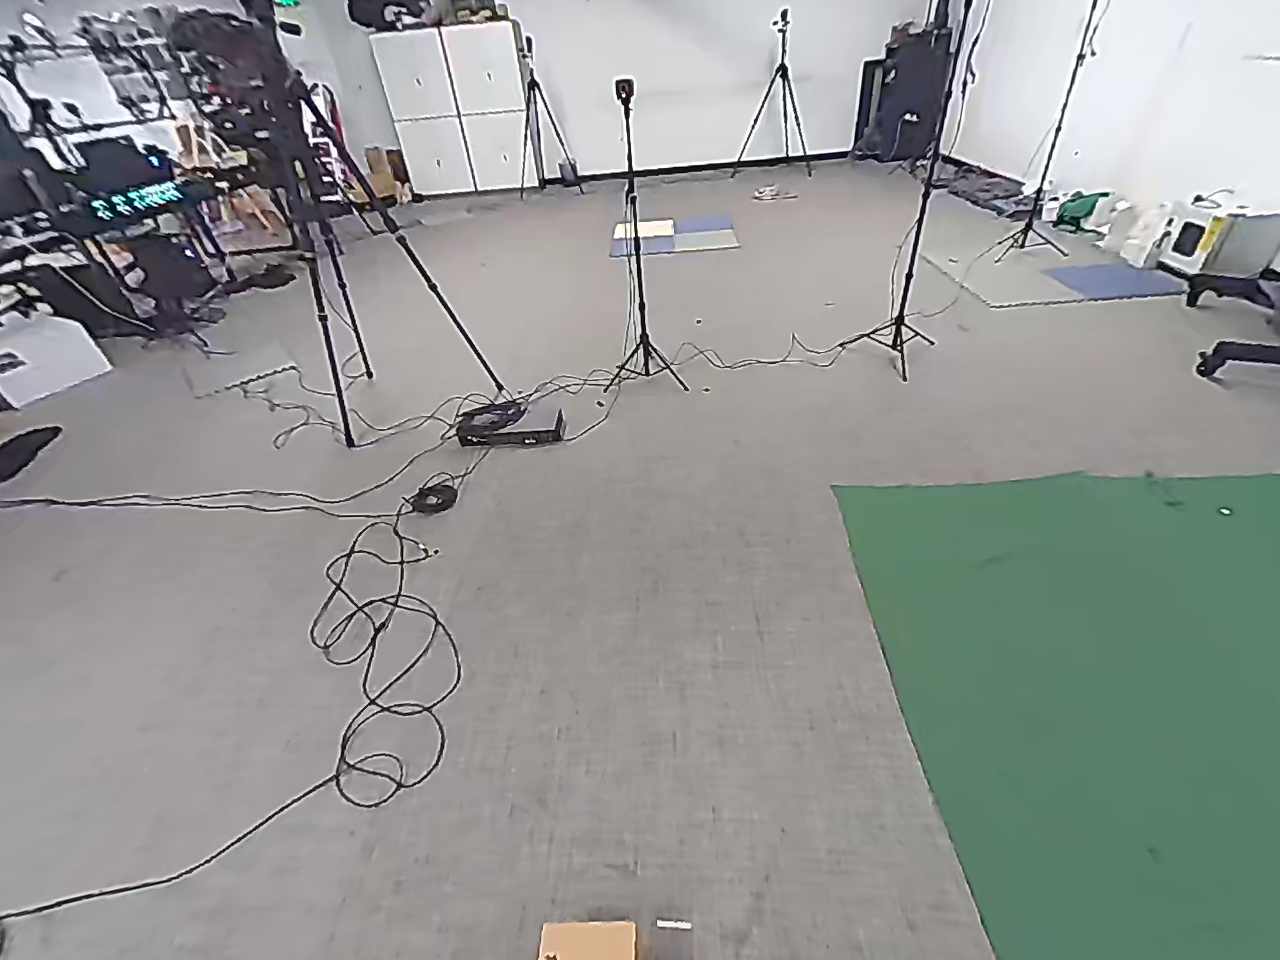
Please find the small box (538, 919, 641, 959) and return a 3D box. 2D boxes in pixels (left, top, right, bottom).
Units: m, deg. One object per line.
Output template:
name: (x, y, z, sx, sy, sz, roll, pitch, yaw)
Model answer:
small box: (-0.089, 0.919, 0.981, 0.179, 0.176, 0.168, -4, 39, 2)
